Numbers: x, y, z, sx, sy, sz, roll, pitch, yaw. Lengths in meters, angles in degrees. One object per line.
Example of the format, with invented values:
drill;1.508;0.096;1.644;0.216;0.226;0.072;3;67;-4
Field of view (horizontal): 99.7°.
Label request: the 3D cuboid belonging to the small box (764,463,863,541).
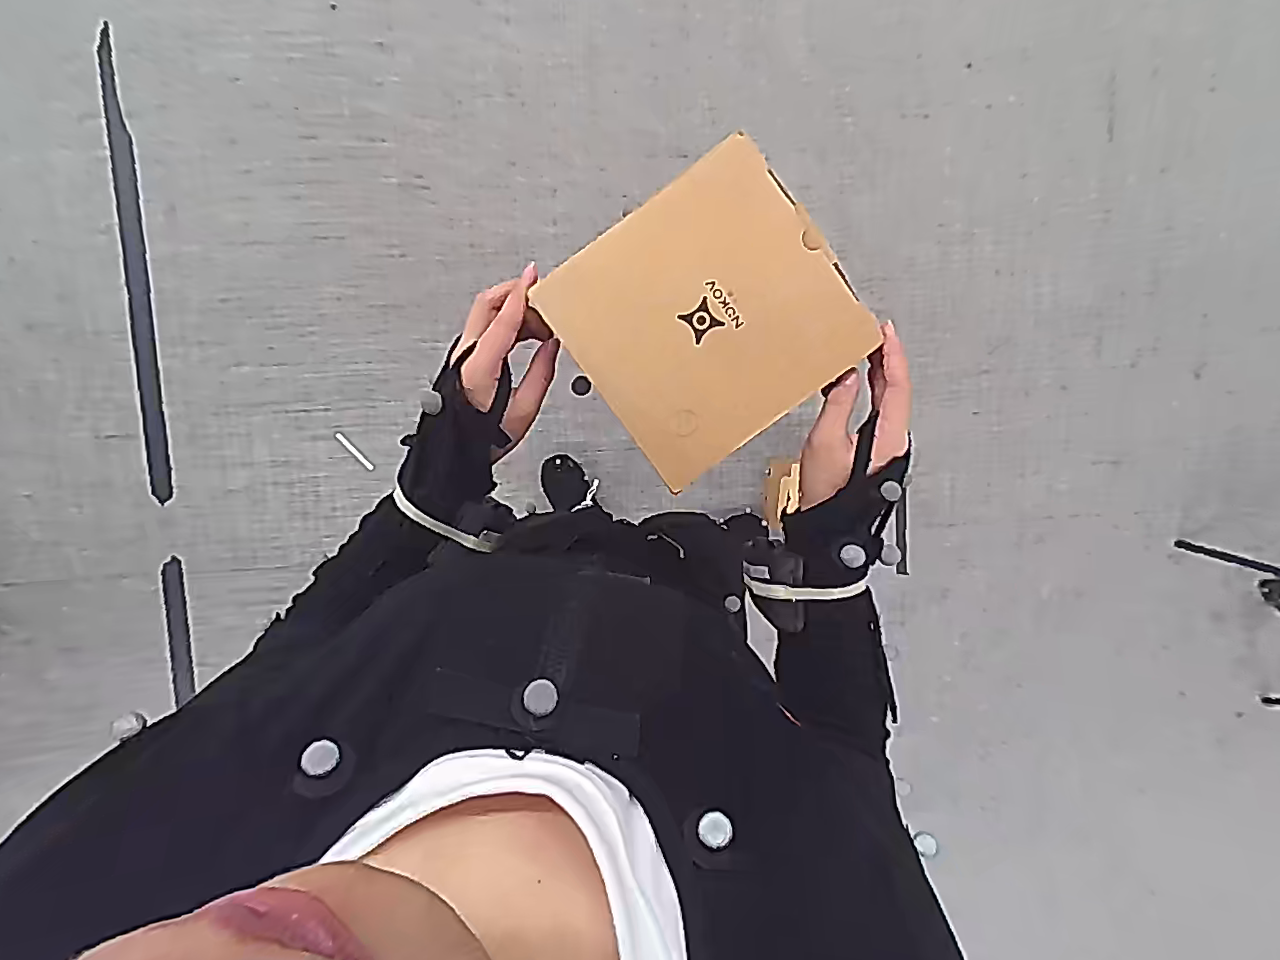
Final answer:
small box;0.419;0.048;1.335;0.179;0.176;0.168;5;95;-6
